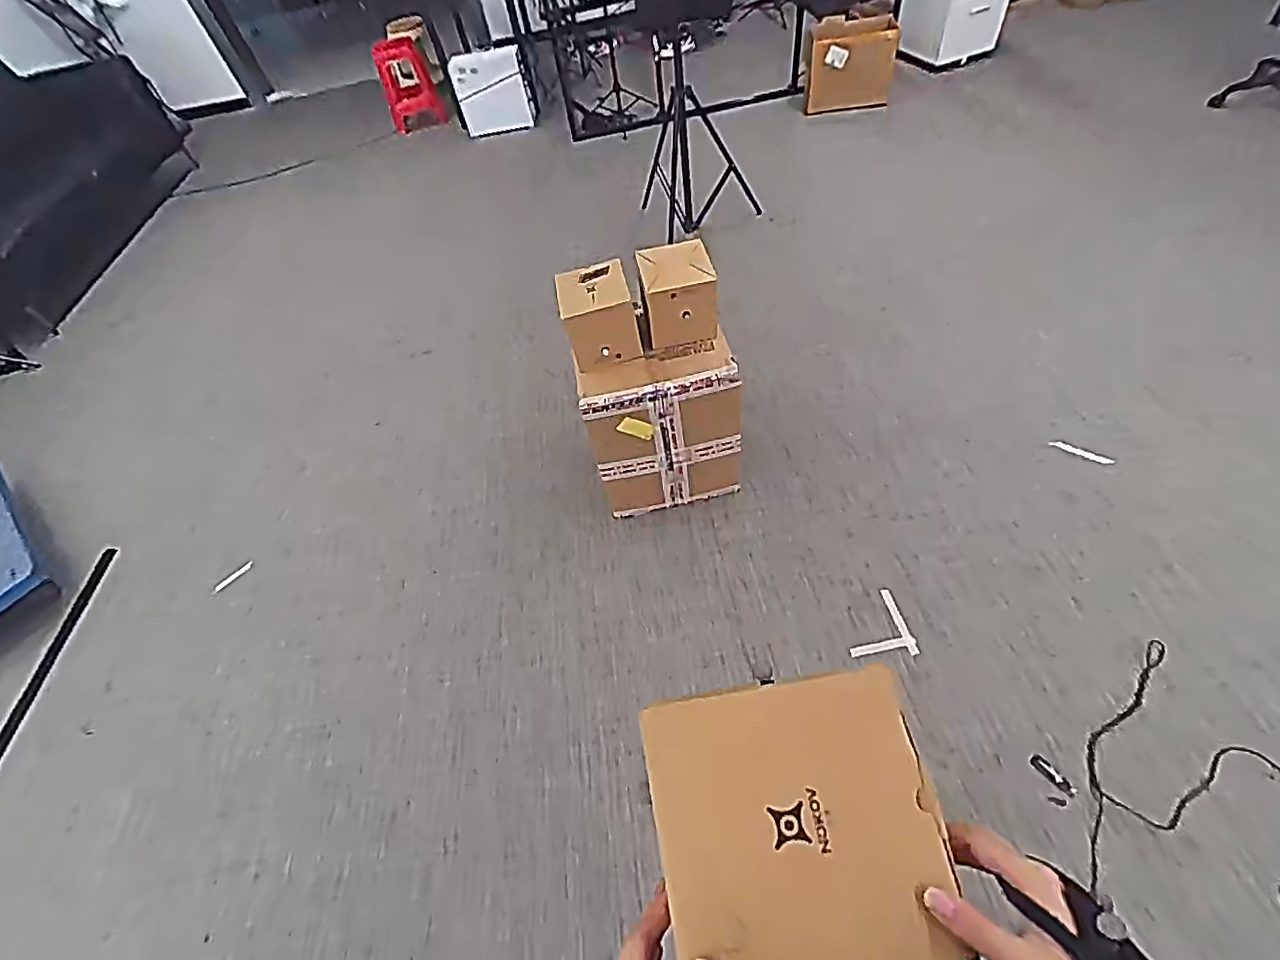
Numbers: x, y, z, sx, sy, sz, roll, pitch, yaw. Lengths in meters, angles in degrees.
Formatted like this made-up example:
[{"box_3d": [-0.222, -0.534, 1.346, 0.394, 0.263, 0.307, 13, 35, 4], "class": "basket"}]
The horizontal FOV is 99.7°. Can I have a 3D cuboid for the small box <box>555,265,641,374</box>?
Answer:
[{"box_3d": [-0.101, -0.391, 1.327, 0.168, 0.176, 0.179, -15, 54, 2], "class": "small box"}]

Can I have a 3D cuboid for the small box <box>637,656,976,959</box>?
[{"box_3d": [0.101, 0.239, 0.413, 0.179, 0.176, 0.168, -10, 68, -1], "class": "small box"}]

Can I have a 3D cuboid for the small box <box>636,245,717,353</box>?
[{"box_3d": [0.087, -0.445, 1.330, 0.168, 0.176, 0.179, -11, 53, -2], "class": "small box"}]
